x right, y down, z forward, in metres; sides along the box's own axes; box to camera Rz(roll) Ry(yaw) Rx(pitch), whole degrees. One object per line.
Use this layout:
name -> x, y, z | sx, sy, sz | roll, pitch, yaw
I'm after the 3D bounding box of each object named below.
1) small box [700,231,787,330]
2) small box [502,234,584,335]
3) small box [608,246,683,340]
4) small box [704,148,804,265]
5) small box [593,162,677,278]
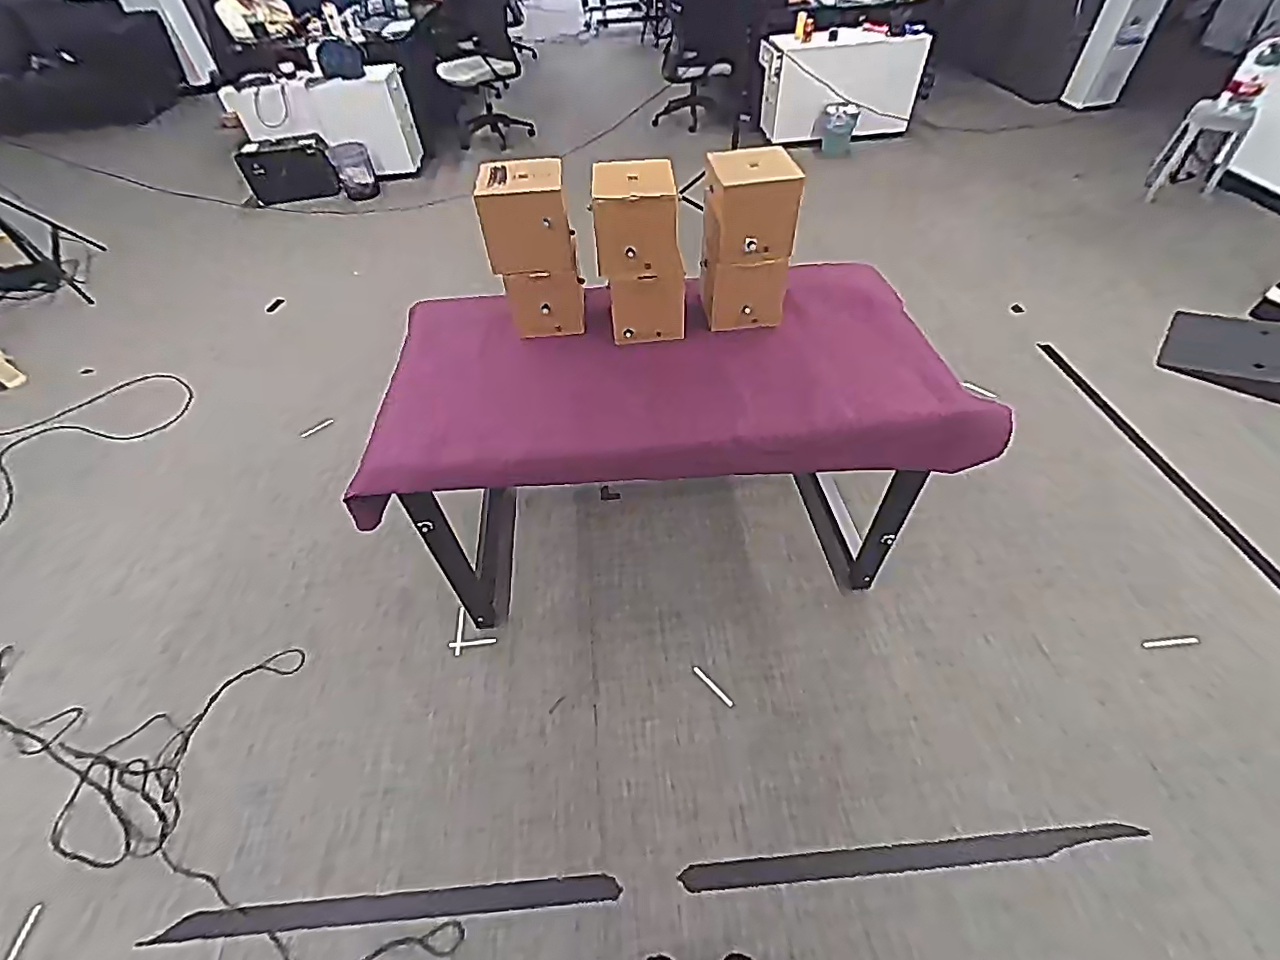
small box -> 0.238, -0.480, 1.291 | 0.168, 0.176, 0.179 | -6, 50, -1
small box -> -0.226, -0.464, 1.302 | 0.168, 0.176, 0.179 | -5, 51, -2
small box -> 0.011, -0.443, 1.273 | 0.168, 0.176, 0.179 | -5, 49, -2
small box -> 0.236, -0.590, 1.171 | 0.168, 0.176, 0.179 | -8, 51, -2
small box -> -0.011, -0.552, 1.152 | 0.168, 0.176, 0.179 | -3, 51, 0
